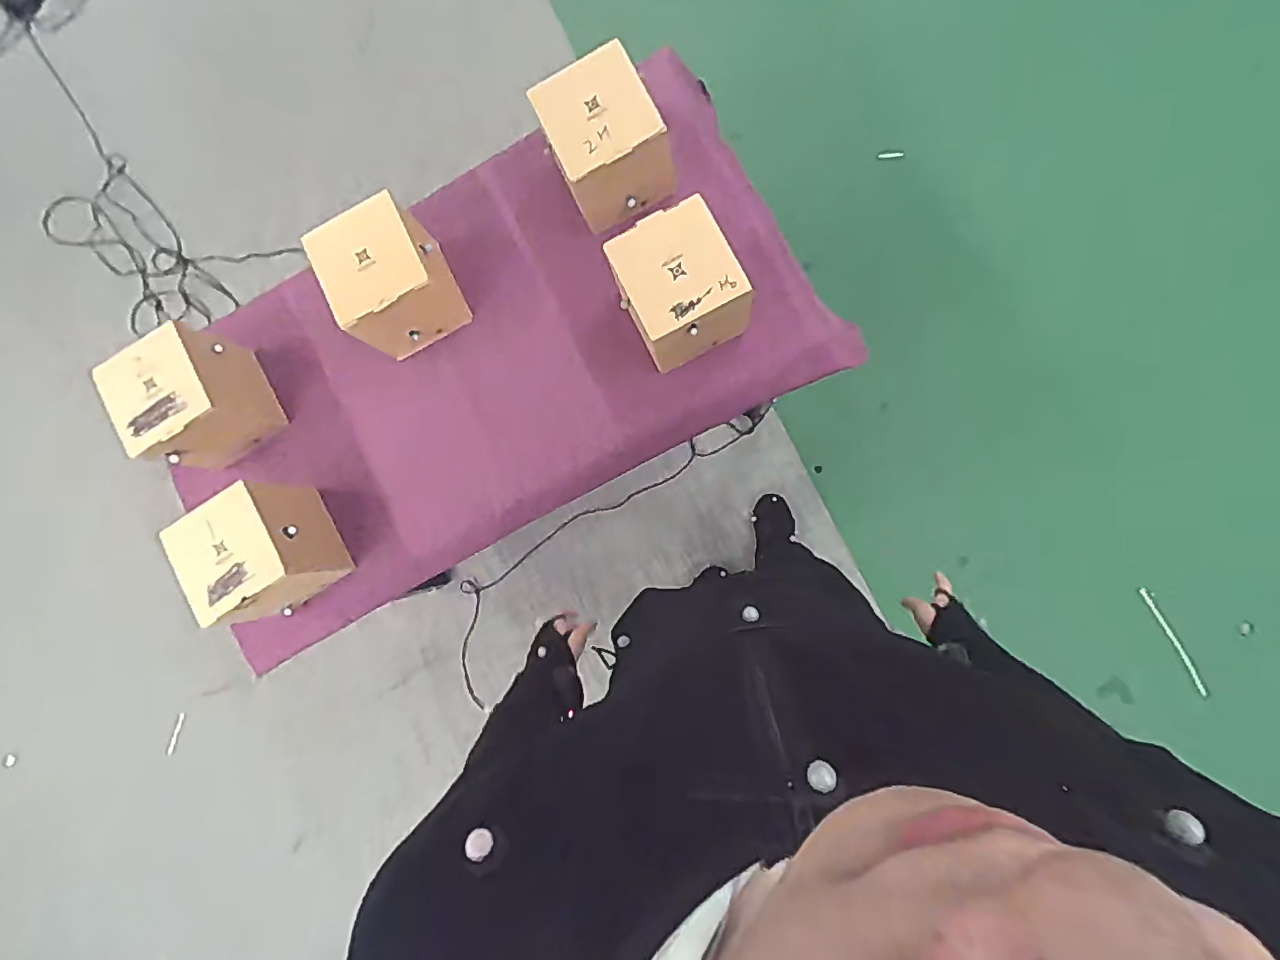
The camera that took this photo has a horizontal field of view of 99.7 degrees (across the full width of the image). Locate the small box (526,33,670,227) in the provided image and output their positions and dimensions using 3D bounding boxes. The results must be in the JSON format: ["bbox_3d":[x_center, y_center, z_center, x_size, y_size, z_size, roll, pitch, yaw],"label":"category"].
[{"bbox_3d":[-0.061,-0.566,0.899,0.168,0.176,0.179,-27,84,6],"label":"small box"}]

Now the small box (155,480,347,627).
[{"bbox_3d":[-0.638,0.119,0.909,0.168,0.176,0.179,-32,81,2],"label":"small box"}]

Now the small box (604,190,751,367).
[{"bbox_3d":[0.061,-0.310,0.868,0.168,0.176,0.179,-27,82,5],"label":"small box"}]

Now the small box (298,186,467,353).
[{"bbox_3d":[-0.429,-0.348,0.926,0.168,0.176,0.179,-27,85,3],"label":"small box"}]
